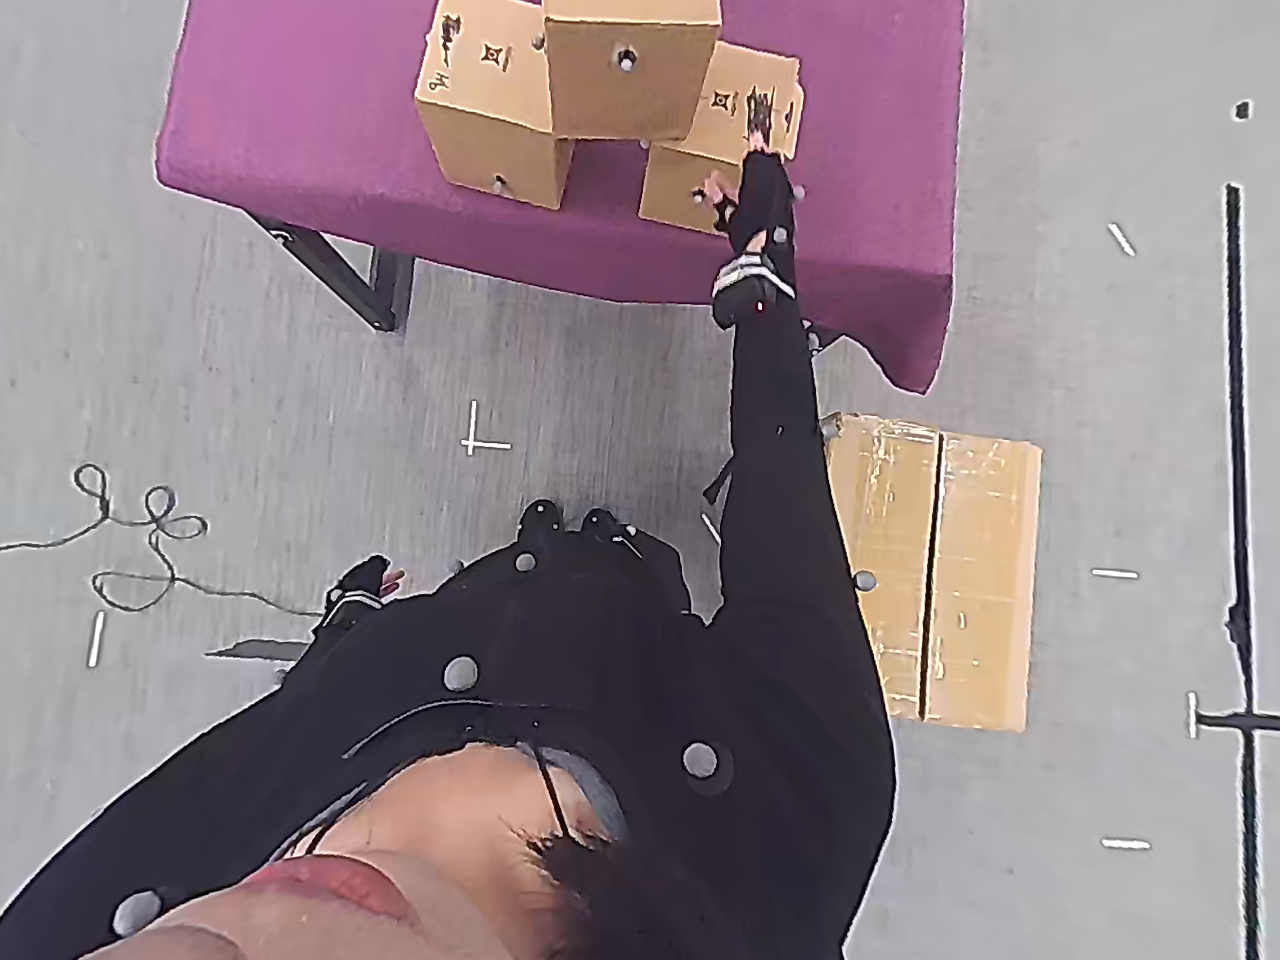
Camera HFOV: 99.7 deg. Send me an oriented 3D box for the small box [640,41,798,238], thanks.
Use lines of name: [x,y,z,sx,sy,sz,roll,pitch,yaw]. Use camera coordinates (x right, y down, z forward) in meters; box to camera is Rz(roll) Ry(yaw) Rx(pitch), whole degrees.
small box: [0.105,-0.480,0.784,0.179,0.176,0.168,11,83,-4]

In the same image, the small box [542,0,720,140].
small box: [-0.019,-0.517,0.610,0.179,0.176,0.168,-4,86,-7]

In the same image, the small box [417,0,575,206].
small box: [-0.184,-0.518,0.757,0.179,0.176,0.168,12,83,-6]
